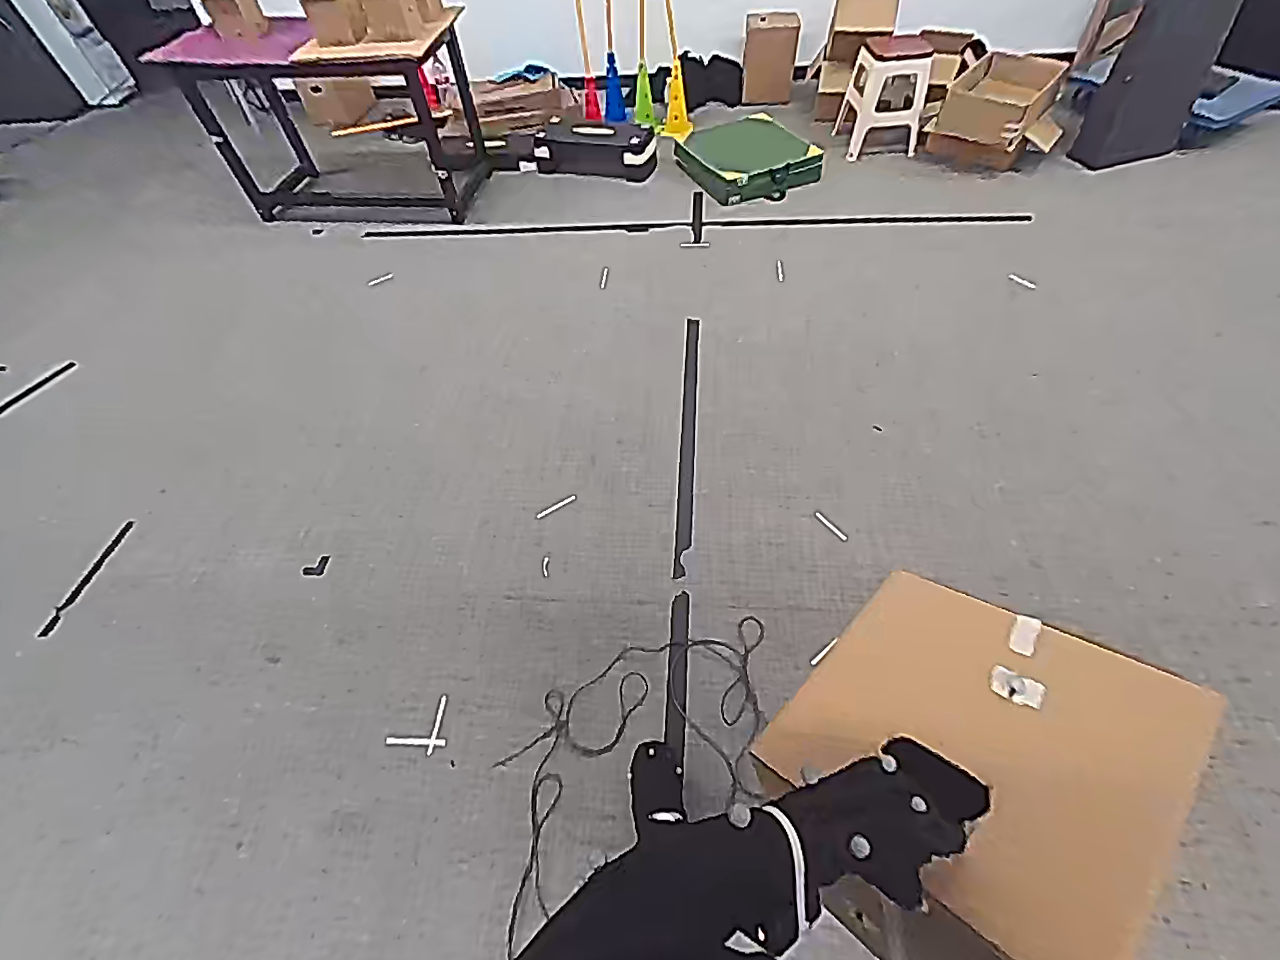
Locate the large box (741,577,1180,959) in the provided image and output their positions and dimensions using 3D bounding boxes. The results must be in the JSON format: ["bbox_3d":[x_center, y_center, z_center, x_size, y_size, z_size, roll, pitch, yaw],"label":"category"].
[{"bbox_3d":[0.378,0.396,0.659,0.320,0.408,0.320,-40,37,-23],"label":"large box"}]
